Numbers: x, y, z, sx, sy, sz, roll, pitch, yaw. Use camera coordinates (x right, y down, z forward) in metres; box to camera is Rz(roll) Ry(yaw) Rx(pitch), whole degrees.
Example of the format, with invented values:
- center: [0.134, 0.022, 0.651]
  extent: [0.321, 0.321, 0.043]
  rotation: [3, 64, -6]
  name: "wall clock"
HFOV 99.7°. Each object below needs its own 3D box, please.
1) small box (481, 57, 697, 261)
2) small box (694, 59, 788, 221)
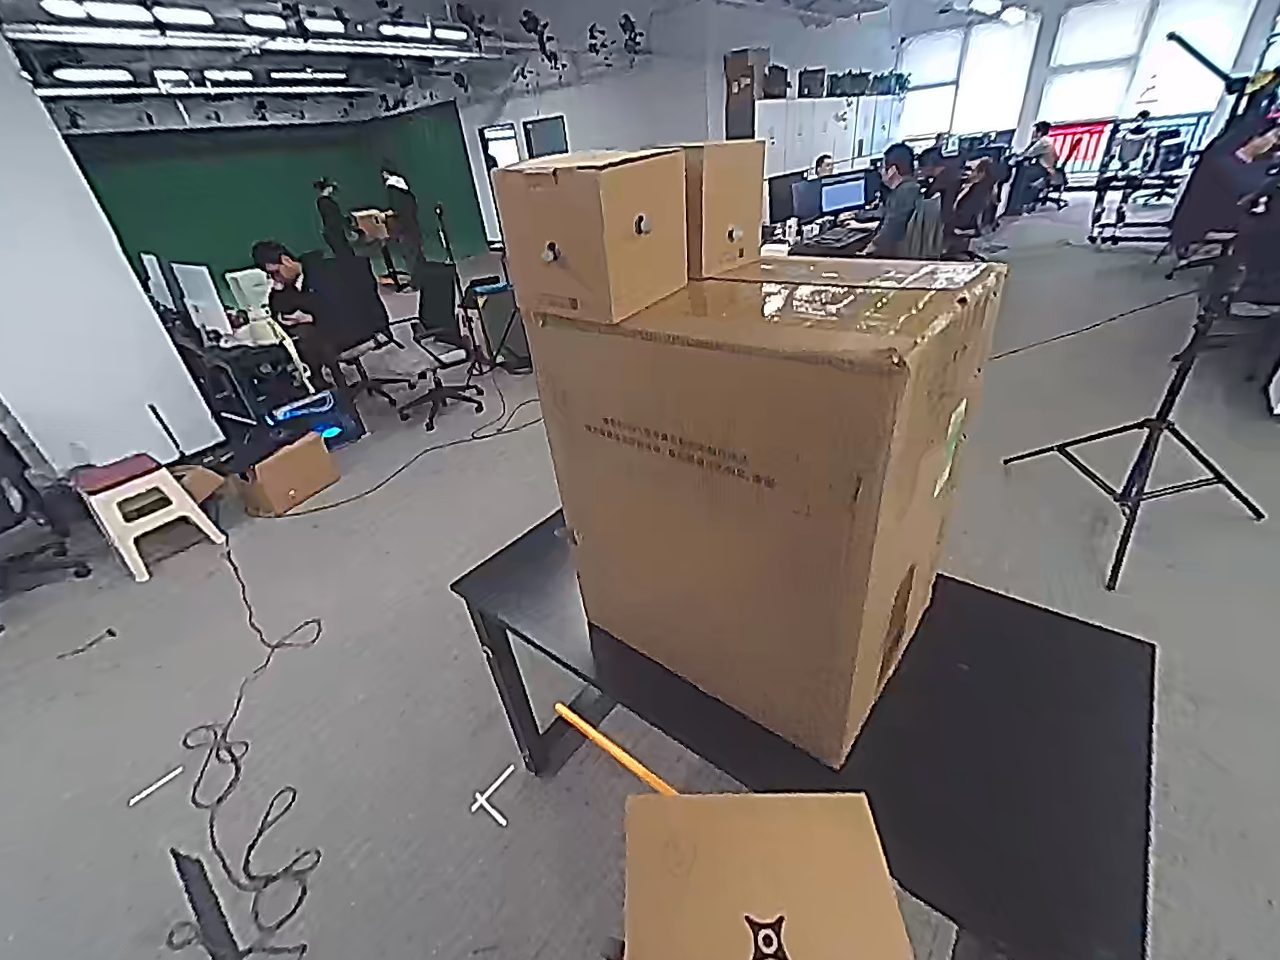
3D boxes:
- center: [-0.042, -0.359, 0.611]
  extent: [0.168, 0.176, 0.179]
  rotation: [19, 43, 29]
  name: "small box"
- center: [0.081, -0.457, 0.745]
  extent: [0.179, 0.176, 0.168]
  rotation: [21, 40, 35]
  name: "small box"
